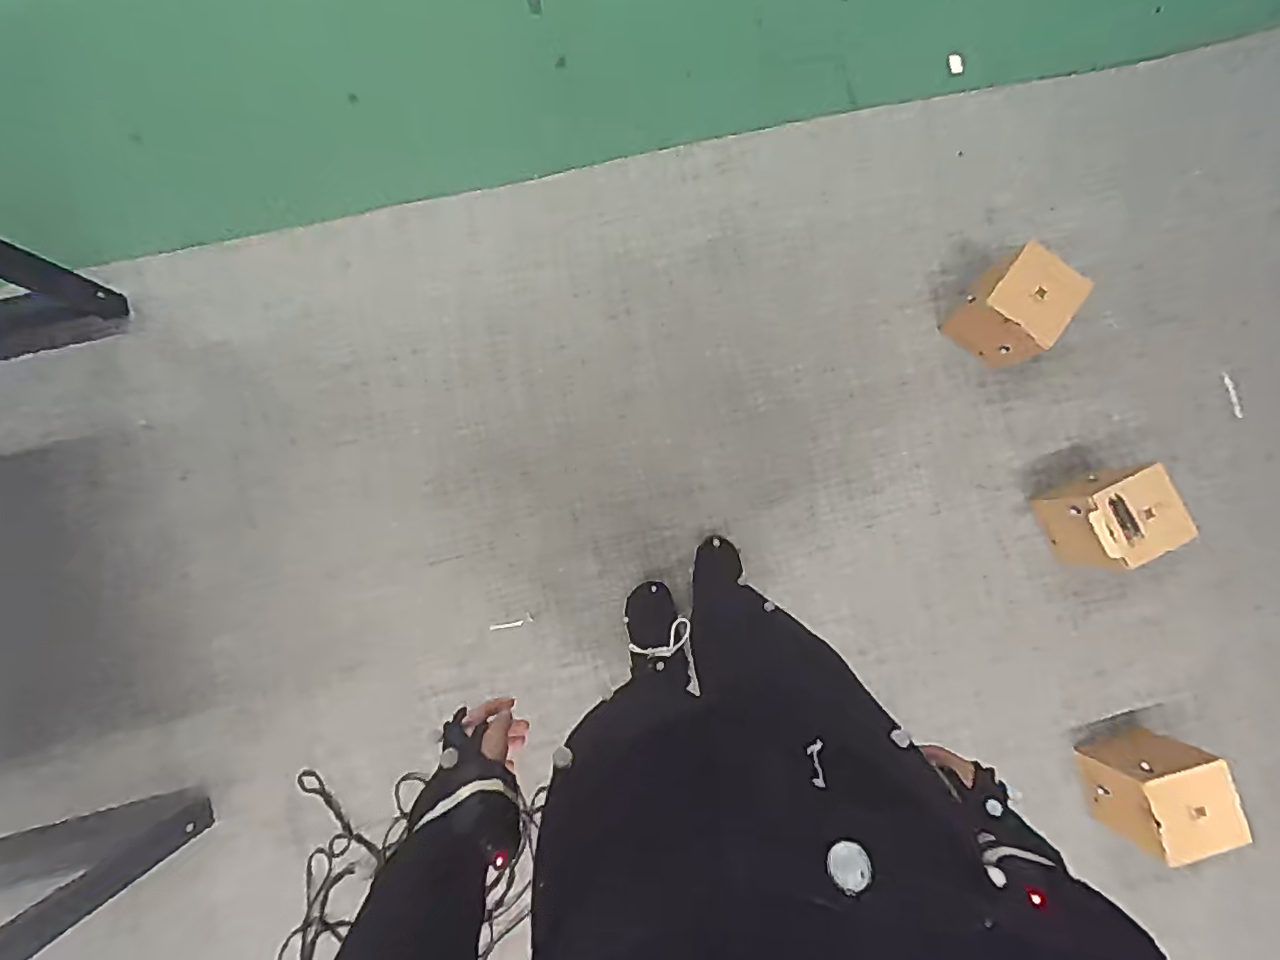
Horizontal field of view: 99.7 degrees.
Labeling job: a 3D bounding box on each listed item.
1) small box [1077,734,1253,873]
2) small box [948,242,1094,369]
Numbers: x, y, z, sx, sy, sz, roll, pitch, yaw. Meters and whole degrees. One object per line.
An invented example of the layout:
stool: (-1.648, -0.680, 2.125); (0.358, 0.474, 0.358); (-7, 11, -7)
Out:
small box: (1.064, 0.650, 1.110); (0.179, 0.176, 0.168); (-15, 86, -2)
small box: (0.823, -0.372, 1.194); (0.168, 0.176, 0.179); (37, 84, 1)
